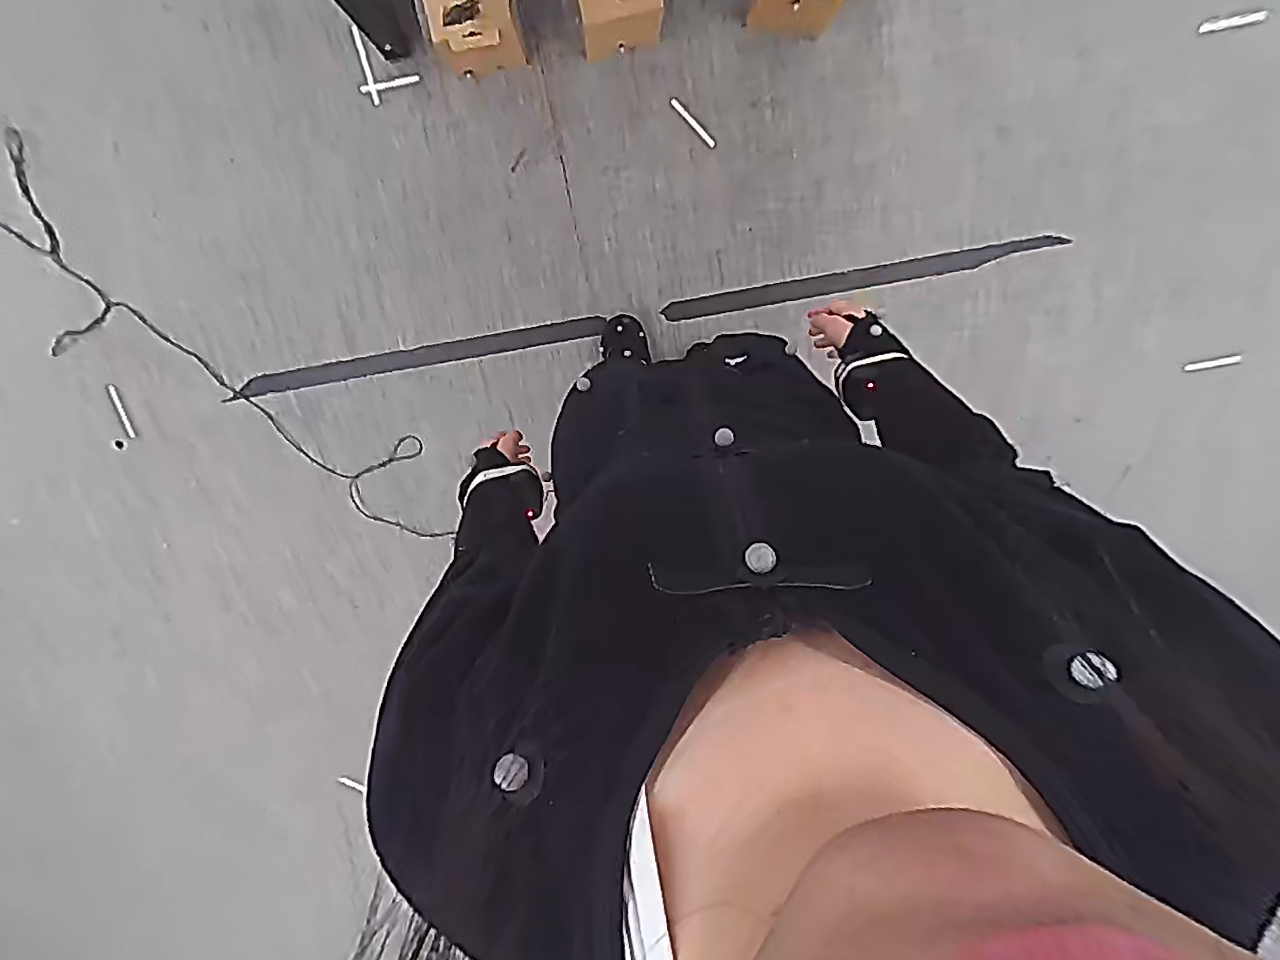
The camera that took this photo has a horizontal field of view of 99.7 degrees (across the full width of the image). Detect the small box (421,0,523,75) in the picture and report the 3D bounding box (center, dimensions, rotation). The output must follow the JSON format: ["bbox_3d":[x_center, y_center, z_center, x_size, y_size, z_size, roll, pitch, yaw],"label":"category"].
[{"bbox_3d":[-0.352,-0.984,1.131,0.168,0.176,0.179,-10,105,1],"label":"small box"}]

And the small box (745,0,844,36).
[{"bbox_3d":[0.334,-1.073,1.133,0.179,0.176,0.168,6,107,-2],"label":"small box"}]
